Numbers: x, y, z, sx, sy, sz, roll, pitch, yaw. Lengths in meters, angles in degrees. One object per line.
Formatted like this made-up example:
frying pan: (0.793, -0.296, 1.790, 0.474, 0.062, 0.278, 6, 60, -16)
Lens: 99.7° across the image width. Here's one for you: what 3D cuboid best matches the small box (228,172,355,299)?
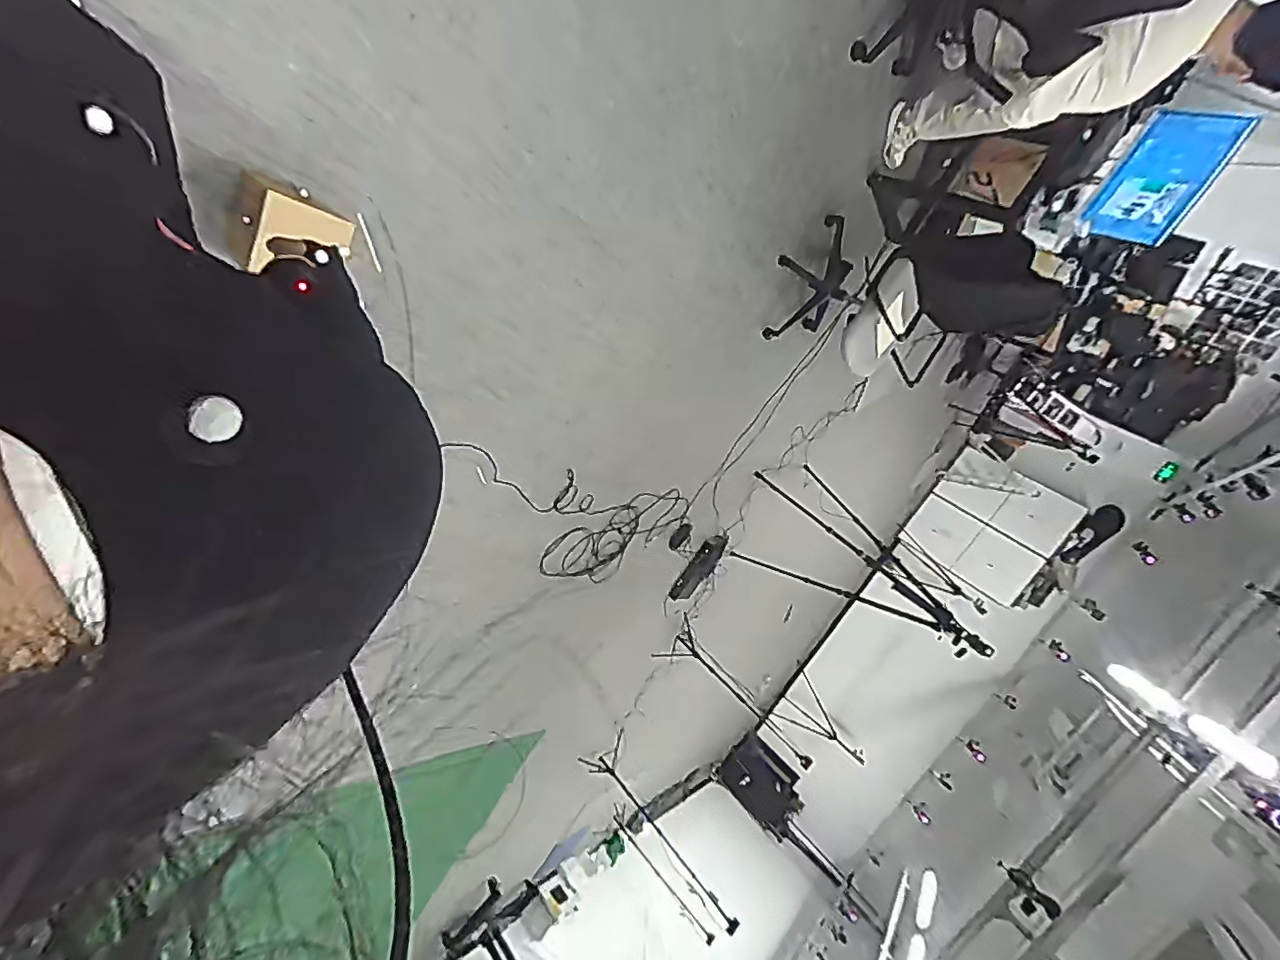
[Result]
small box: (-0.746, -0.520, 1.153, 0.168, 0.176, 0.179, 4, 120, -53)
